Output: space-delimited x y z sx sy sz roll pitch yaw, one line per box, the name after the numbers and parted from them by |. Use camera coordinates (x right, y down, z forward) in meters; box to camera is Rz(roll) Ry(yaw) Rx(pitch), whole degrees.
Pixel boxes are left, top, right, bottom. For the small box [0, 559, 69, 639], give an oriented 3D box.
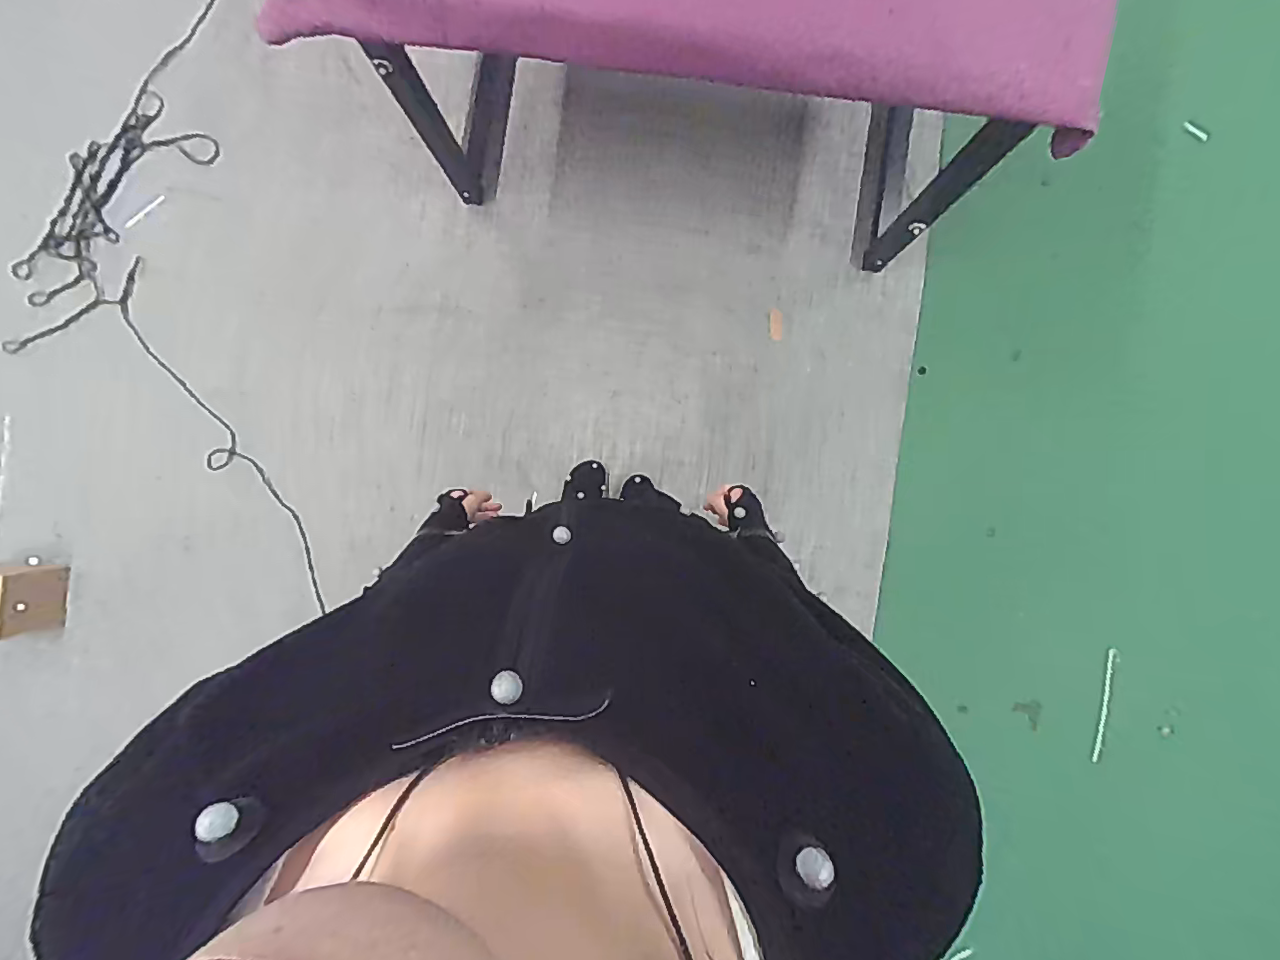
-1.713 0.321 1.459 0.168 0.176 0.179 7 89 1 | small box
